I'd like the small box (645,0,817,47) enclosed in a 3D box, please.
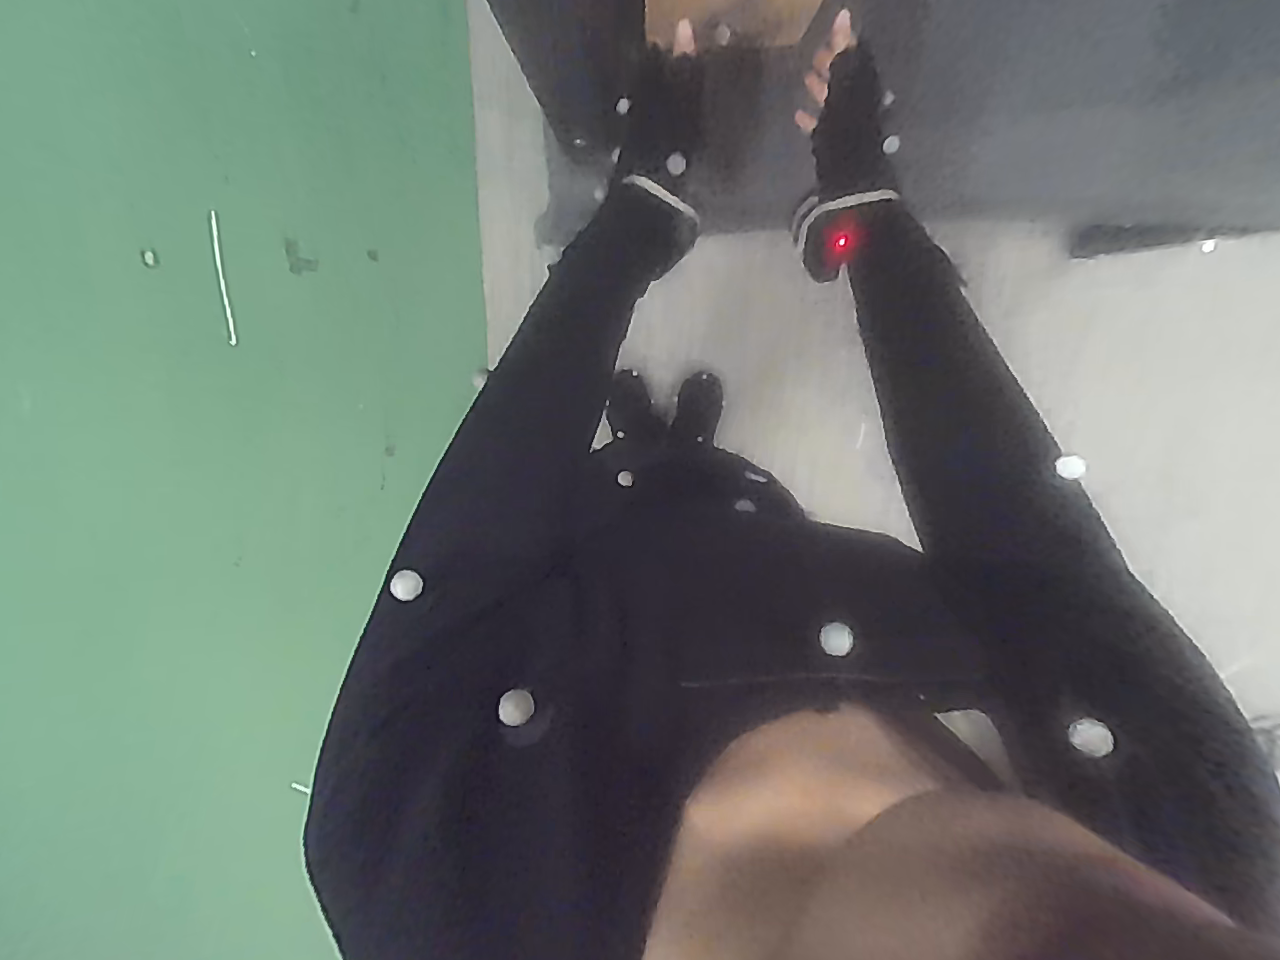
[{"bbox_3d":[0.085,-0.528,0.480,0.168,0.176,0.179,-1,106,1],"label":"small box"}]
